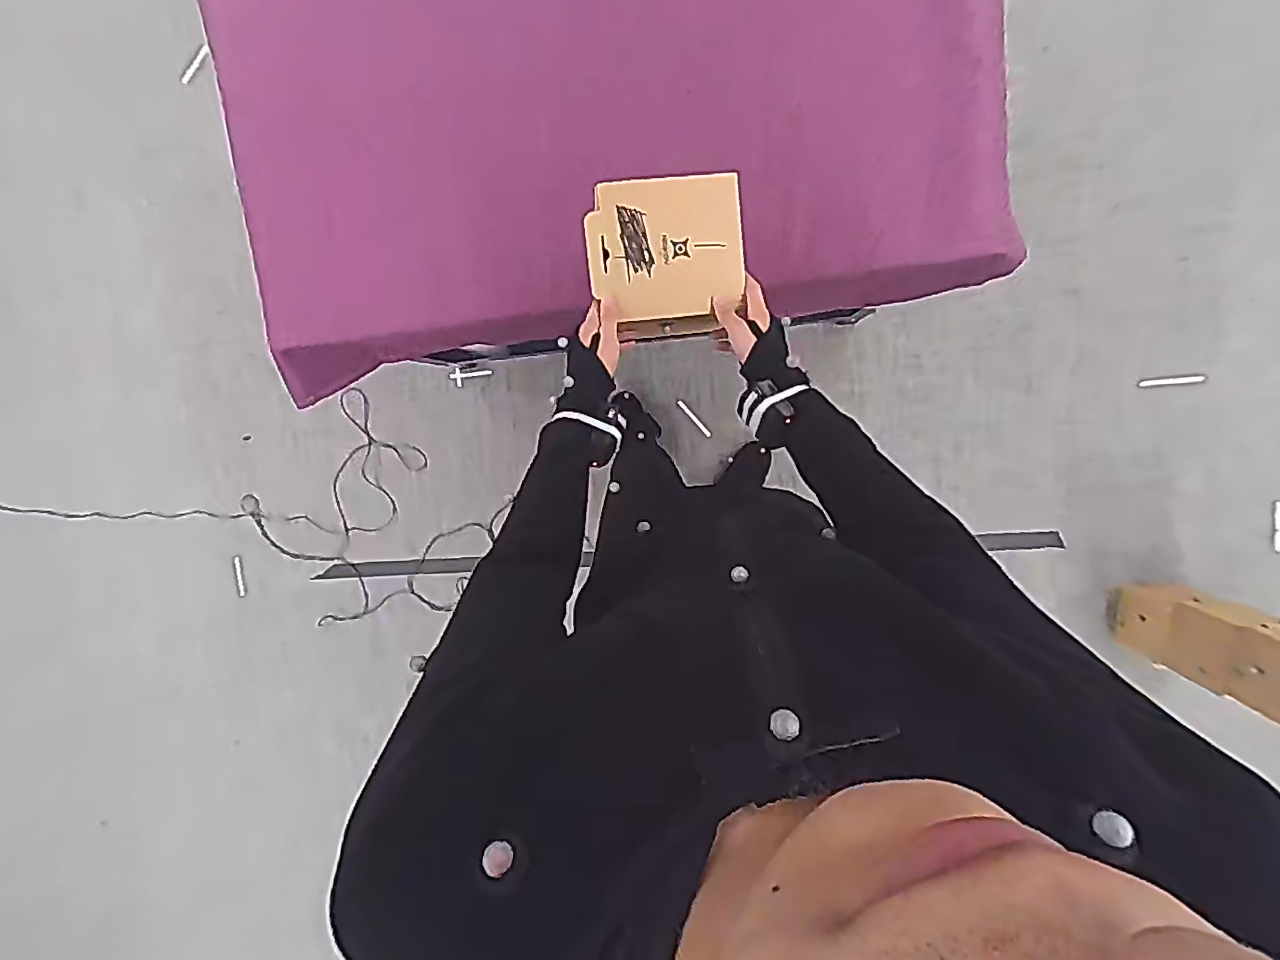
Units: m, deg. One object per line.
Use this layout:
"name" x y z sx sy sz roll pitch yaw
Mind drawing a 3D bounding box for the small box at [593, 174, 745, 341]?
"small box" 0.032 -0.290 0.738 0.179 0.176 0.168 -7 97 -5

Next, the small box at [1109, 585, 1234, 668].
"small box" 1.413 0.386 1.451 0.179 0.176 0.168 -1 97 6

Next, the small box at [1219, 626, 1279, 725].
"small box" 1.389 0.416 1.123 0.179 0.176 0.168 5 98 6
